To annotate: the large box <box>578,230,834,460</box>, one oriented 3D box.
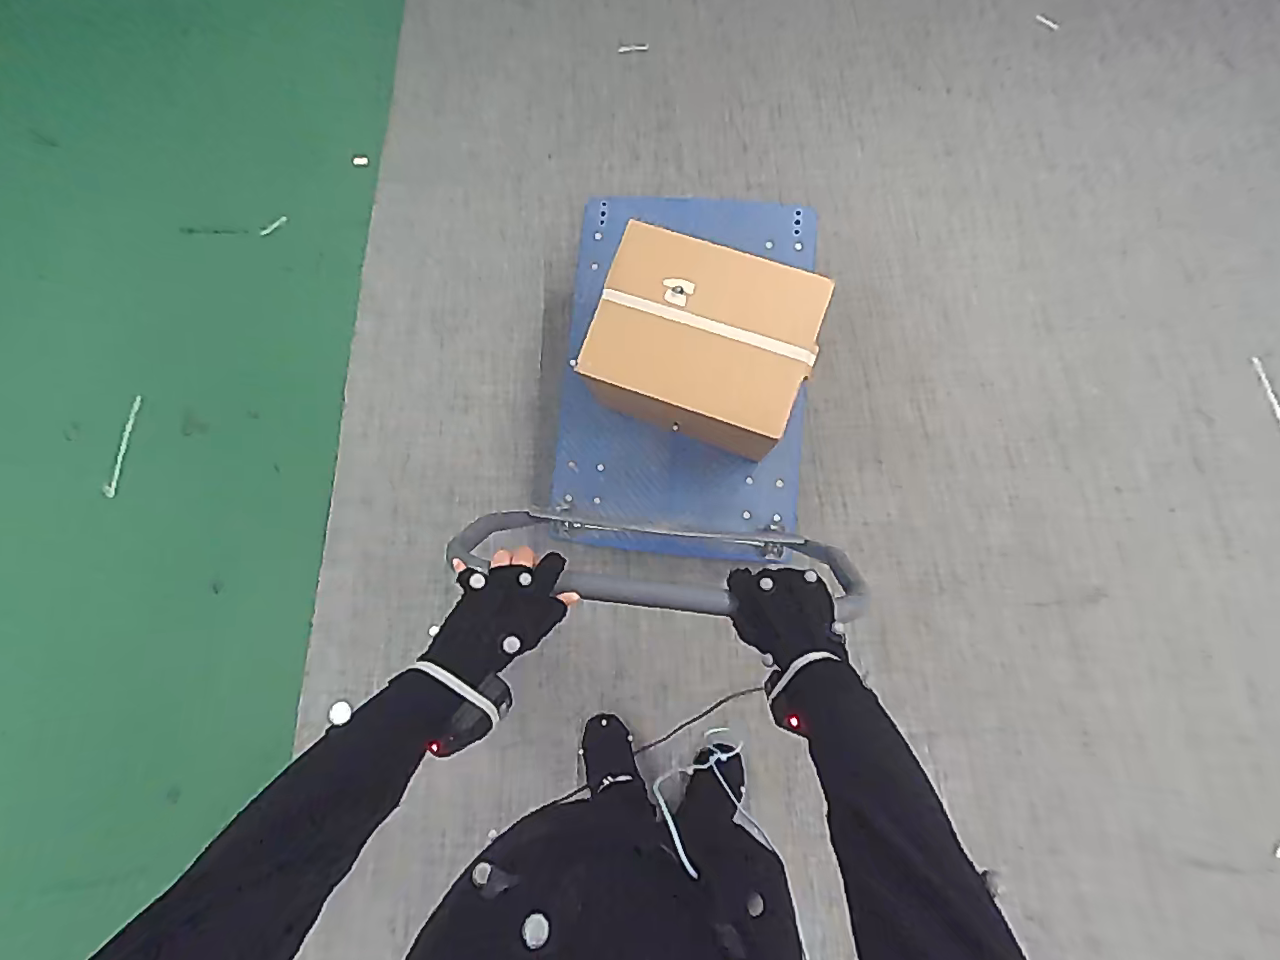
[{"bbox_3d":[0.136,-0.258,1.142,0.408,0.320,0.320,20,87,8],"label":"large box"}]
